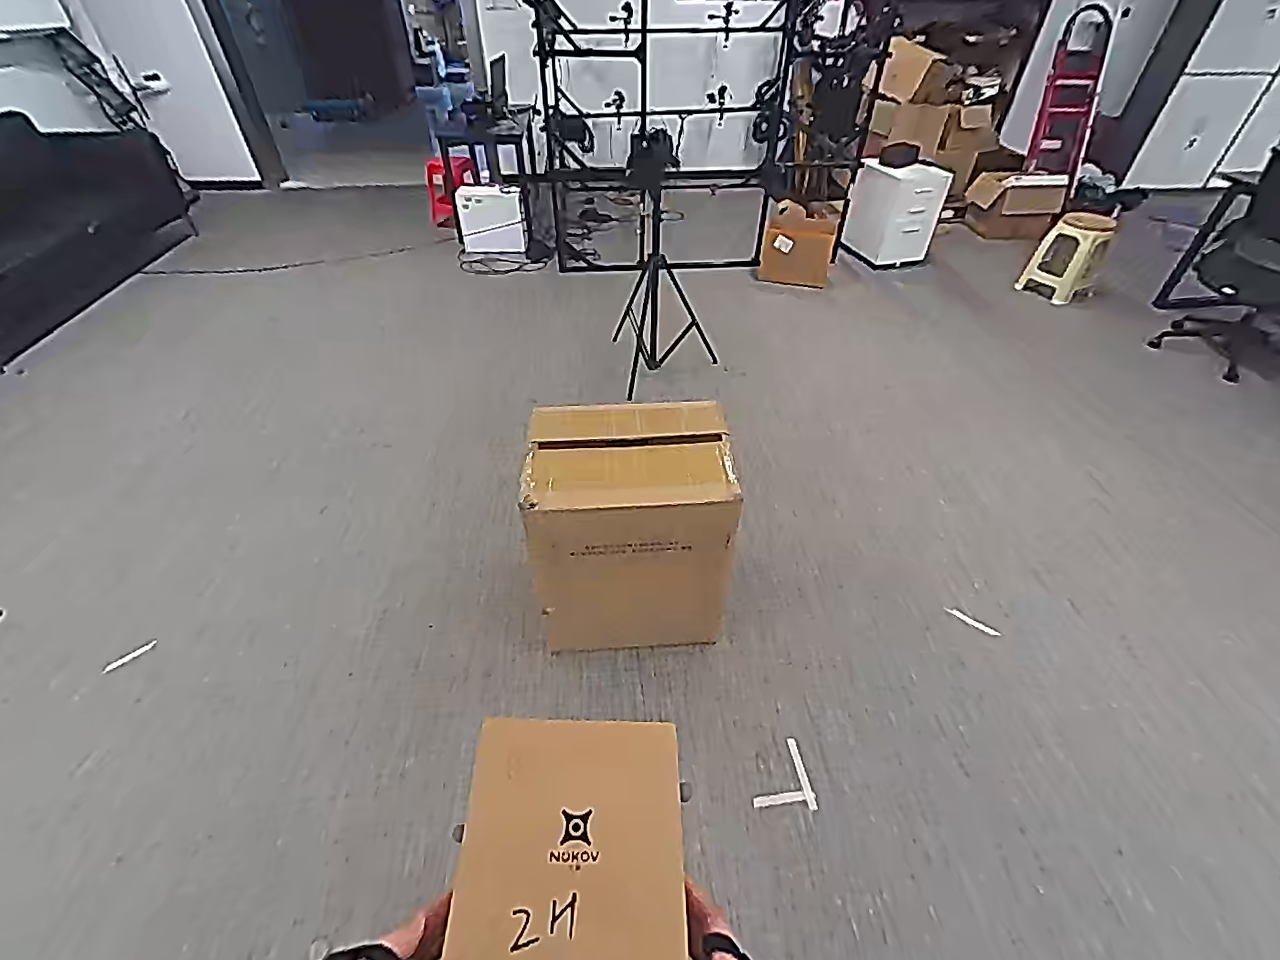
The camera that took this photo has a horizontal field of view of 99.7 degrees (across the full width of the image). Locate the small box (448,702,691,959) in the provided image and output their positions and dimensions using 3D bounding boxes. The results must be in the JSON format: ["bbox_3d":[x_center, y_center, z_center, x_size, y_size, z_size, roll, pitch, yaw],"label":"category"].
[{"bbox_3d":[-0.055,0.316,0.474,0.168,0.176,0.179,3,47,-5],"label":"small box"}]
